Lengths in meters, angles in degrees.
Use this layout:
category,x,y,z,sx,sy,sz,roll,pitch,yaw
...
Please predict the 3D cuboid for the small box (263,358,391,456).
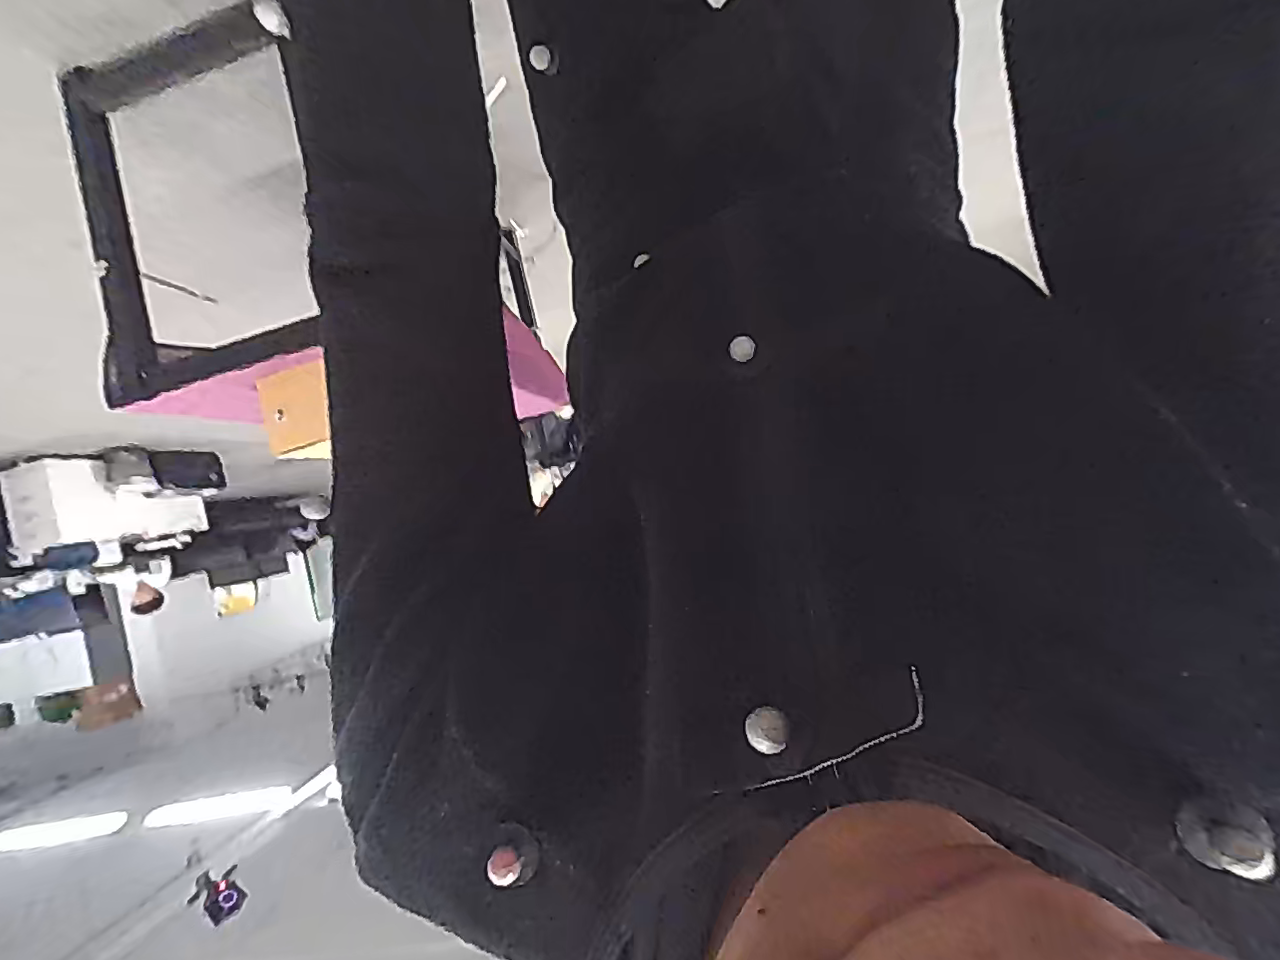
category,x,y,z,sx,sy,sz,roll,pitch,yaw
small box,-0.691,-0.155,1.194,0.179,0.176,0.168,-14,180,12
